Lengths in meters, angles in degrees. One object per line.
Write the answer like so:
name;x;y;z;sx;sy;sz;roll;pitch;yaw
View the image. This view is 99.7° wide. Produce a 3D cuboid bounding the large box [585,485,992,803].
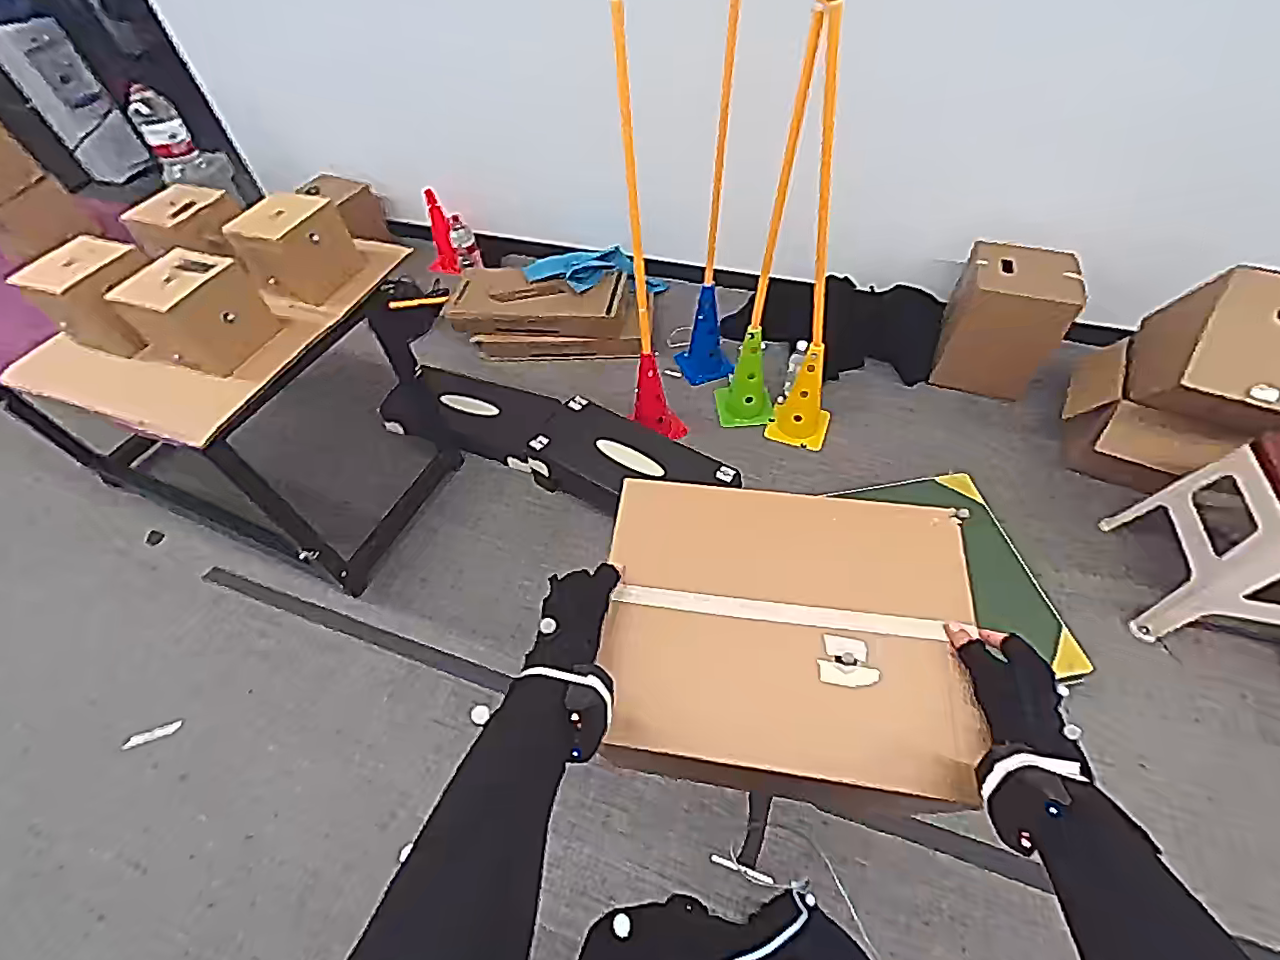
large box;0.166;0.229;0.734;0.408;0.320;0.320;5;59;8
